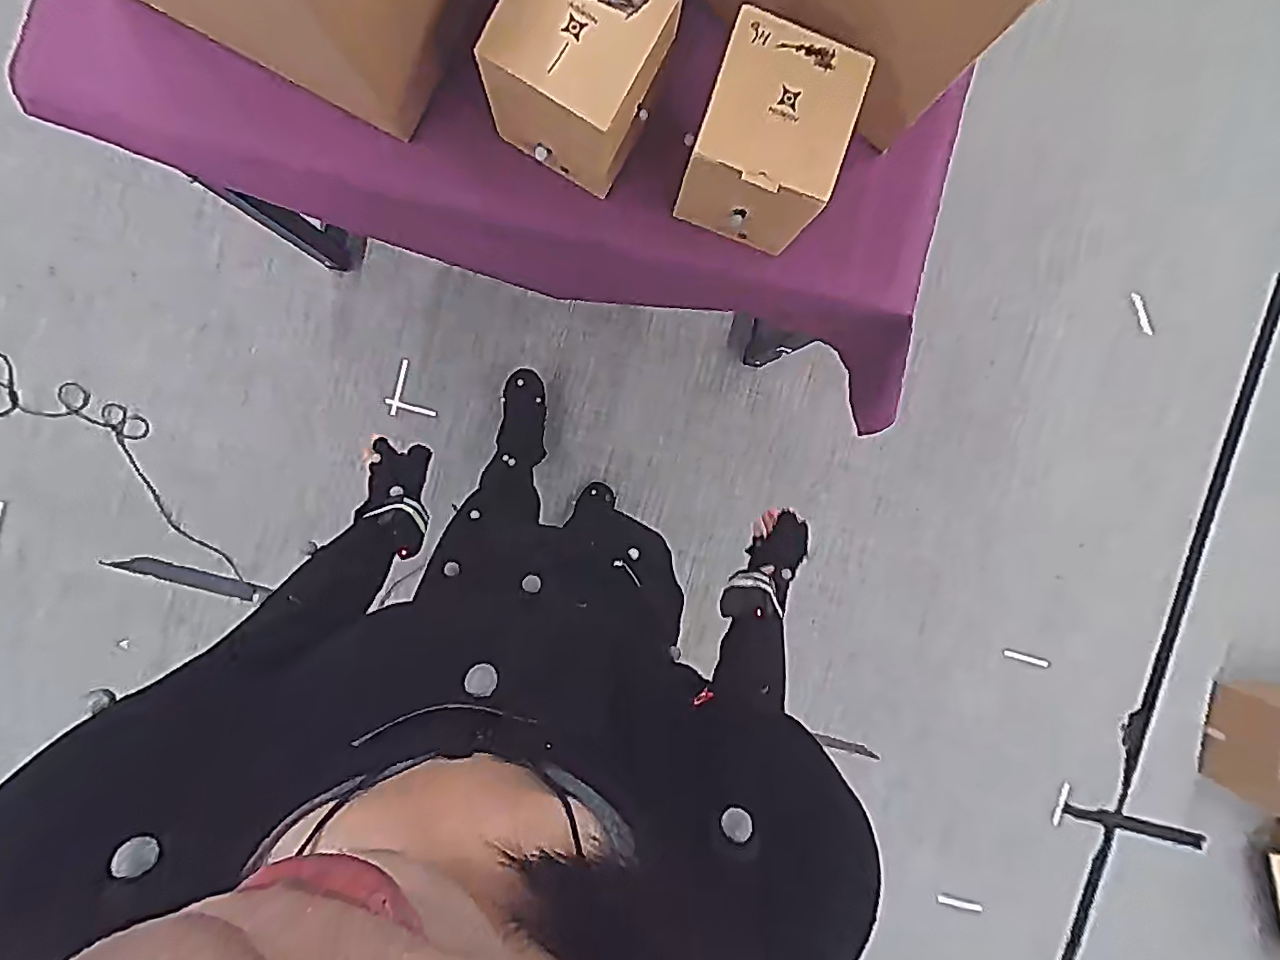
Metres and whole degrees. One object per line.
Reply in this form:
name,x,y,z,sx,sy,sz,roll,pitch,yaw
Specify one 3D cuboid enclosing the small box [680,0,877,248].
small box,0.158,-0.424,0.682,0.168,0.176,0.179,19,92,-6
